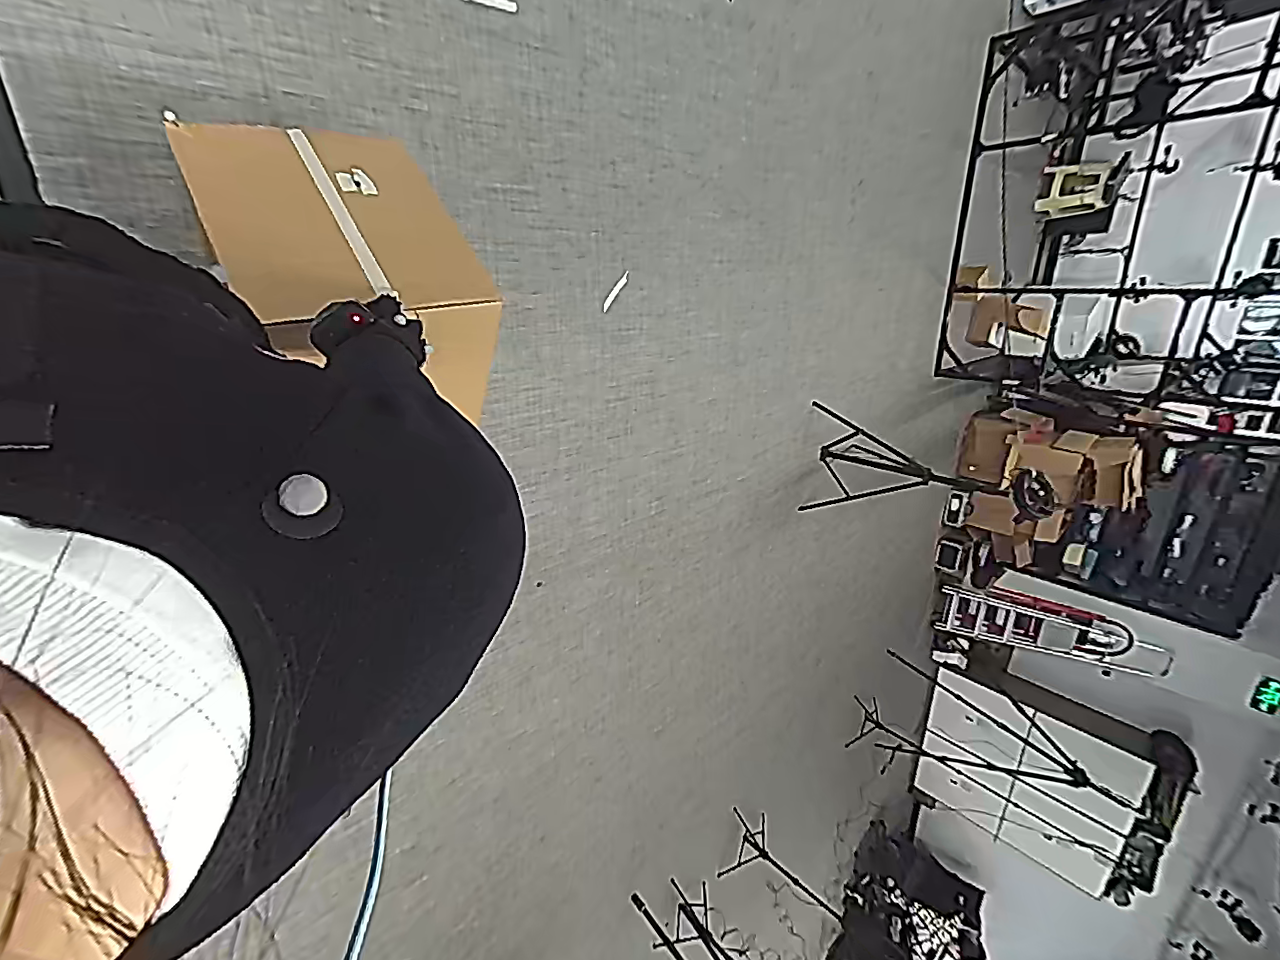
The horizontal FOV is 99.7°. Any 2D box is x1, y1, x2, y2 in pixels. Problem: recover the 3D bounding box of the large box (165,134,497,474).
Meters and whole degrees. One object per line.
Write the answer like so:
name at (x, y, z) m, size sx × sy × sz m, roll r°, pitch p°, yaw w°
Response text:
large box at (-0.479, -0.283, 0.877) m, size 0.320 × 0.408 × 0.320 m, roll -21°, pitch 156°, yaw -36°
